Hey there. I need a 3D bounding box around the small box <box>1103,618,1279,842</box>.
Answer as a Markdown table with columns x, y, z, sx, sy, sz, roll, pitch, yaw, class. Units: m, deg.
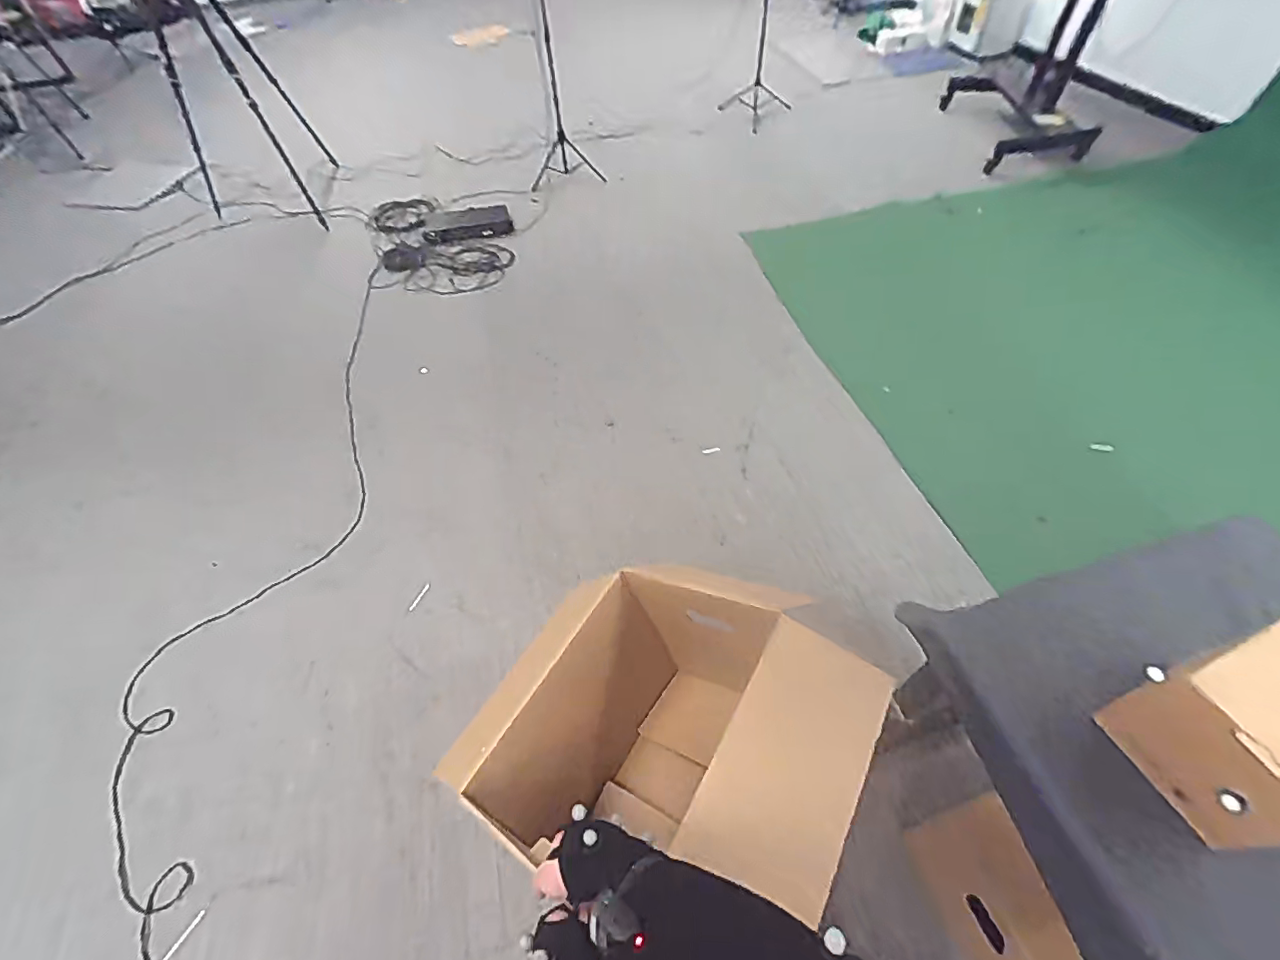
| x | y | z | sx | sy | sz | roll | pitch | yaw | class |
| --- | --- | --- | --- | --- | --- | --- | --- | --- | --- |
| 0.706 | 0.296 | 0.632 | 0.179 | 0.176 | 0.168 | -20 | 56 | -14 | small box |
